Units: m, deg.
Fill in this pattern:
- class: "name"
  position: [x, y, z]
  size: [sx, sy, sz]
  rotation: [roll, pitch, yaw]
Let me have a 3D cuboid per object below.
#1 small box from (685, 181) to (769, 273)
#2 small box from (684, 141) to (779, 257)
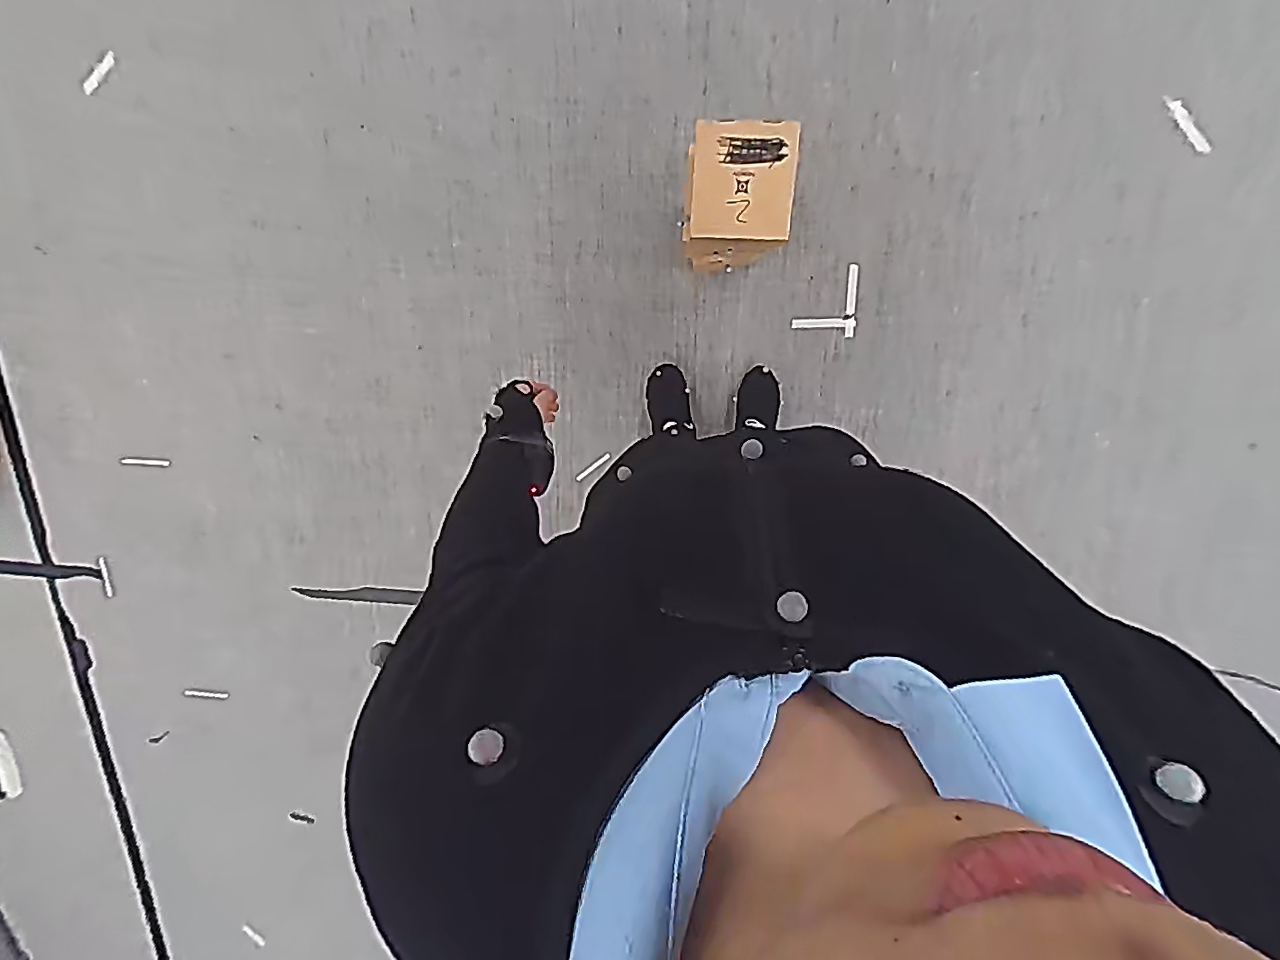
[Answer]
- class: "small box"
  position: [0.197, -0.597, 1.258]
  size: [0.168, 0.176, 0.179]
  rotation: [-9, 104, 8]
- class: "small box"
  position: [0.178, -0.562, 1.100]
  size: [0.168, 0.176, 0.179]
  rotation: [3, 105, 4]
